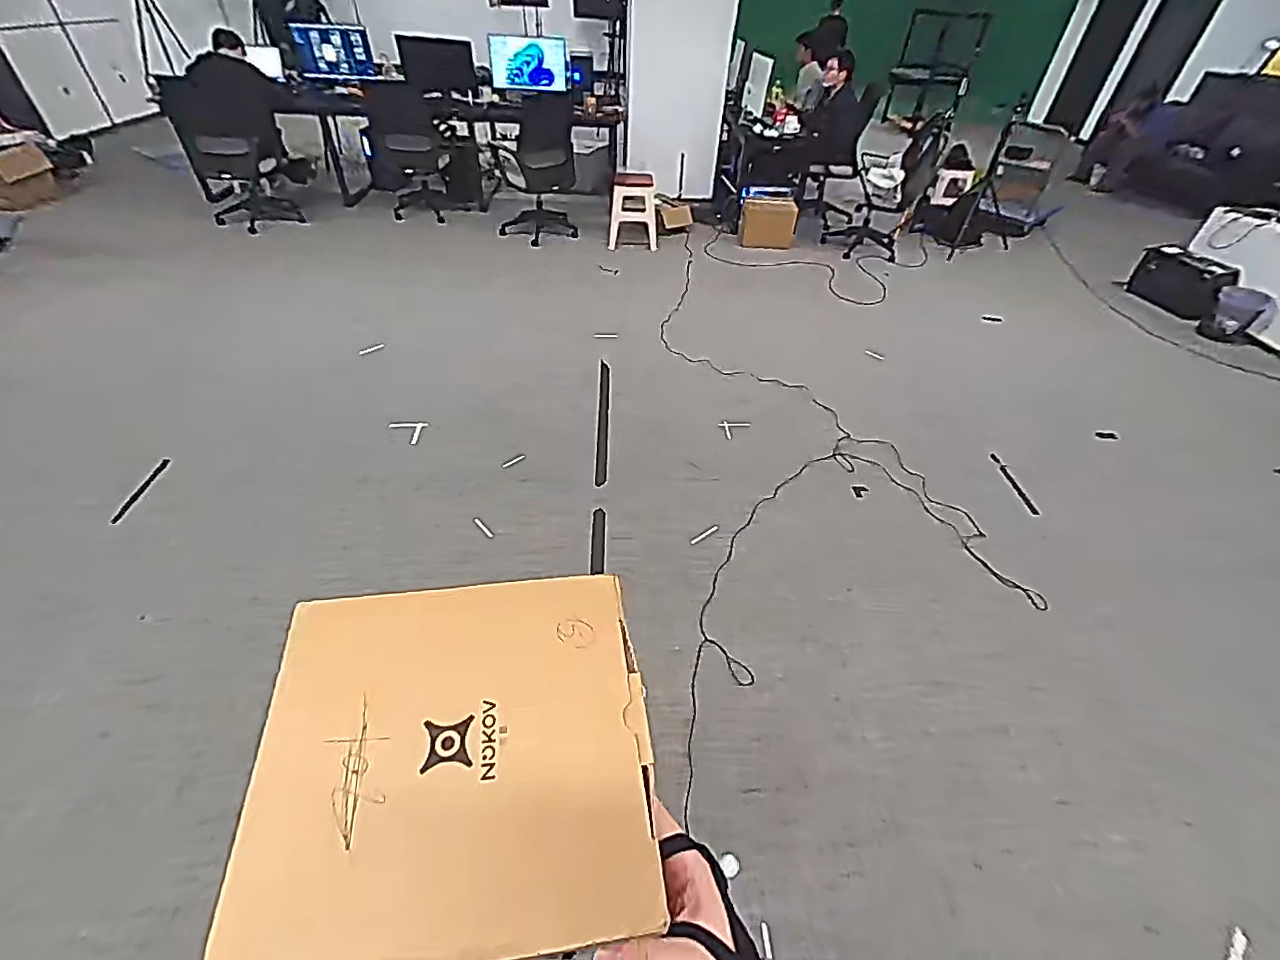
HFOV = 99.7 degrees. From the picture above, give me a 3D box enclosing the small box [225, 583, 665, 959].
[{"bbox_3d":[-0.093,0.181,0.326,0.179,0.176,0.168,-5,50,-9],"label":"small box"}]
